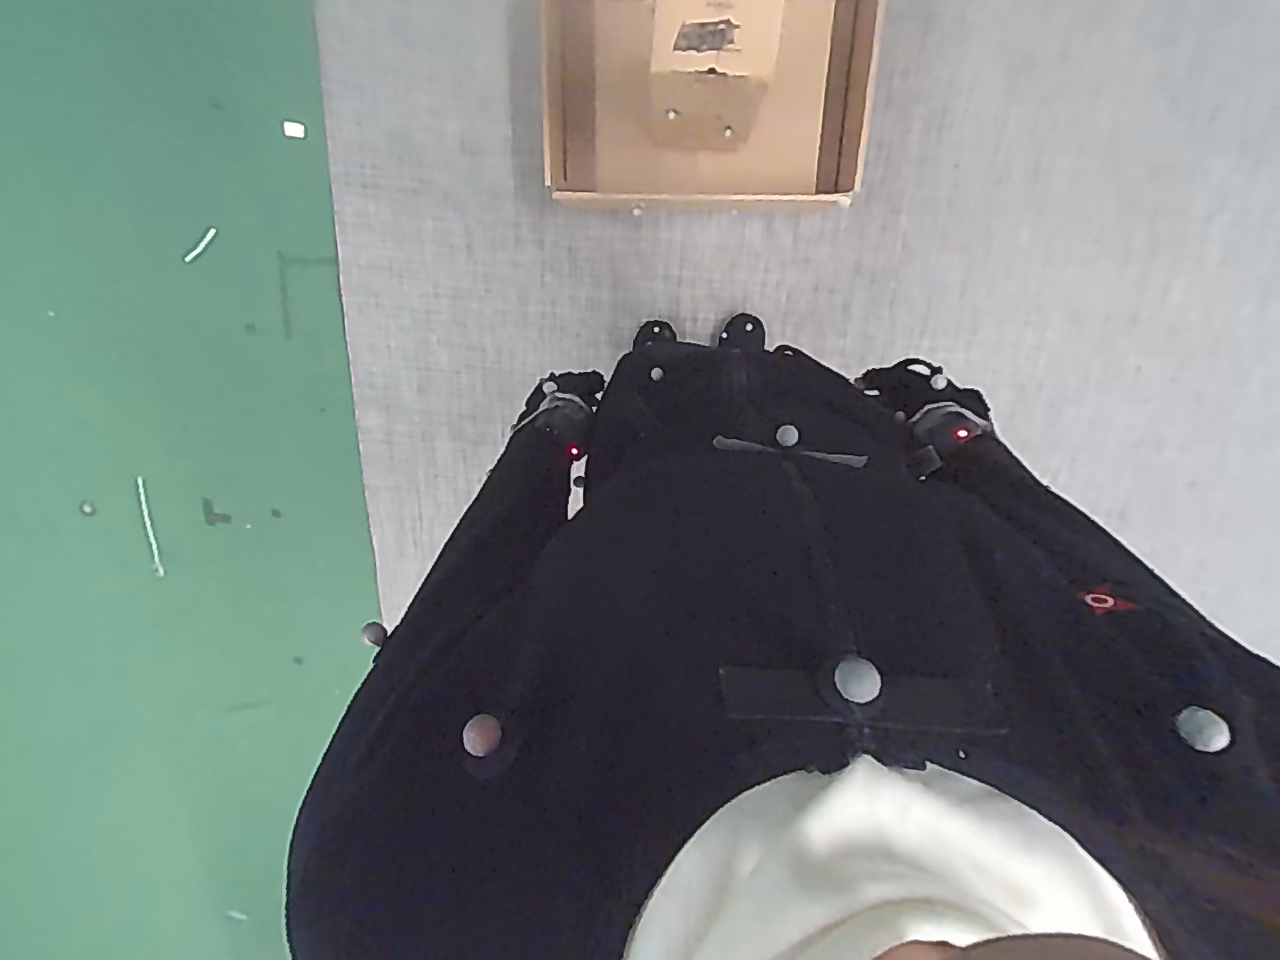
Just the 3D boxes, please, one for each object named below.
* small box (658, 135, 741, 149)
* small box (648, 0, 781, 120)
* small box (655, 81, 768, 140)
[{"bbox_3d":[0.124,-0.770,1.070,0.179,0.176,0.168,1,107,2],"label":"small box"},{"bbox_3d":[0.104,-0.640,0.767,0.168,0.176,0.179,6,107,1],"label":"small box"},{"bbox_3d":[0.116,-0.688,0.908,0.179,0.176,0.168,2,108,2],"label":"small box"}]
